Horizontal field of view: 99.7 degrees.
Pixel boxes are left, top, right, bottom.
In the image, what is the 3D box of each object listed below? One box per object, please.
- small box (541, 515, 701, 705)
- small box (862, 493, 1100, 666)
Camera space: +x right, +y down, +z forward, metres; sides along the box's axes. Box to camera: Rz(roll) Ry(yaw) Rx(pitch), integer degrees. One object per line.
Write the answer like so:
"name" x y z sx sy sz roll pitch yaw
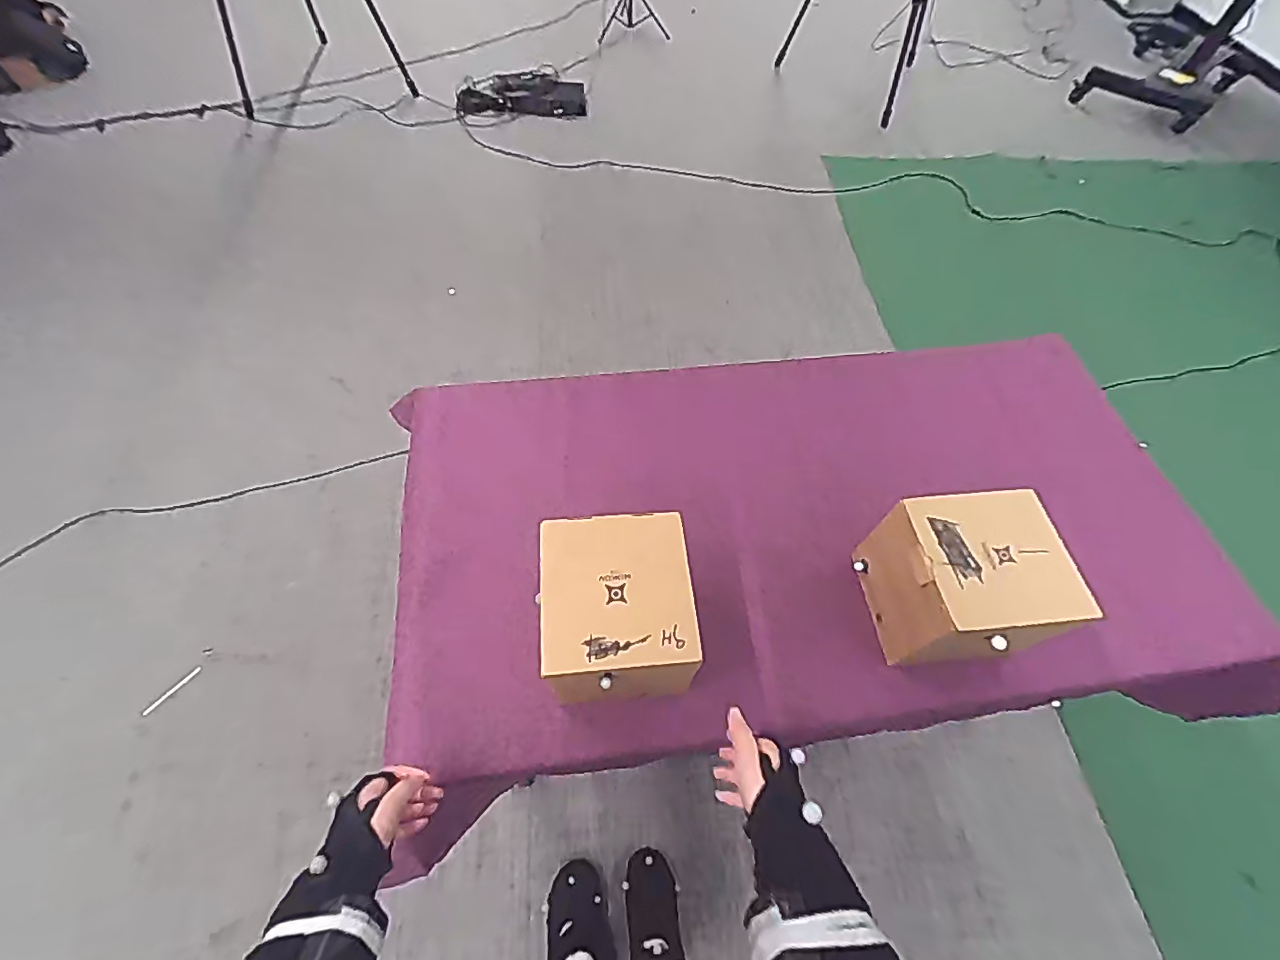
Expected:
"small box" -0.028 0.161 0.655 0.168 0.176 0.179 -3 58 -4
"small box" 0.406 0.132 0.690 0.179 0.176 0.168 -4 59 -5
